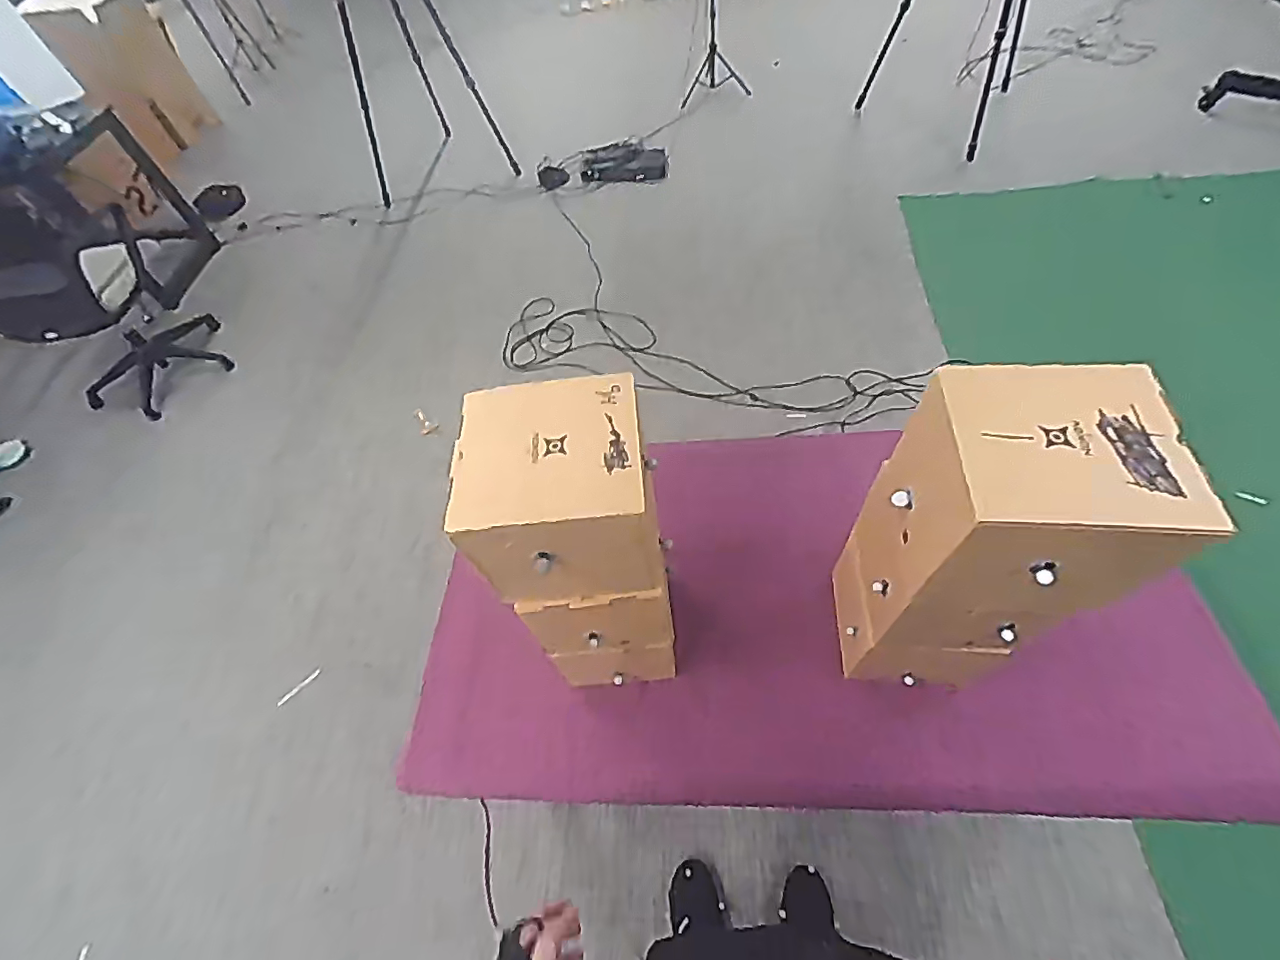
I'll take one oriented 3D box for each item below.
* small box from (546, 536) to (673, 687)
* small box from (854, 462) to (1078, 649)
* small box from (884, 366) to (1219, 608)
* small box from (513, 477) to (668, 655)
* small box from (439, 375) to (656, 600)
[{"bbox_3d":[-0.040,0.204,0.833,0.168,0.176,0.179,-6,56,5],"label":"small box"},{"bbox_3d":[0.366,0.095,0.648,0.168,0.176,0.179,0,56,8],"label":"small box"},{"bbox_3d":[0.350,0.012,0.508,0.179,0.176,0.168,1,57,10],"label":"small box"},{"bbox_3d":[-0.056,0.110,0.701,0.168,0.176,0.179,-8,56,3],"label":"small box"},{"bbox_3d":[-0.083,0.016,0.570,0.179,0.176,0.168,-7,56,4],"label":"small box"}]
